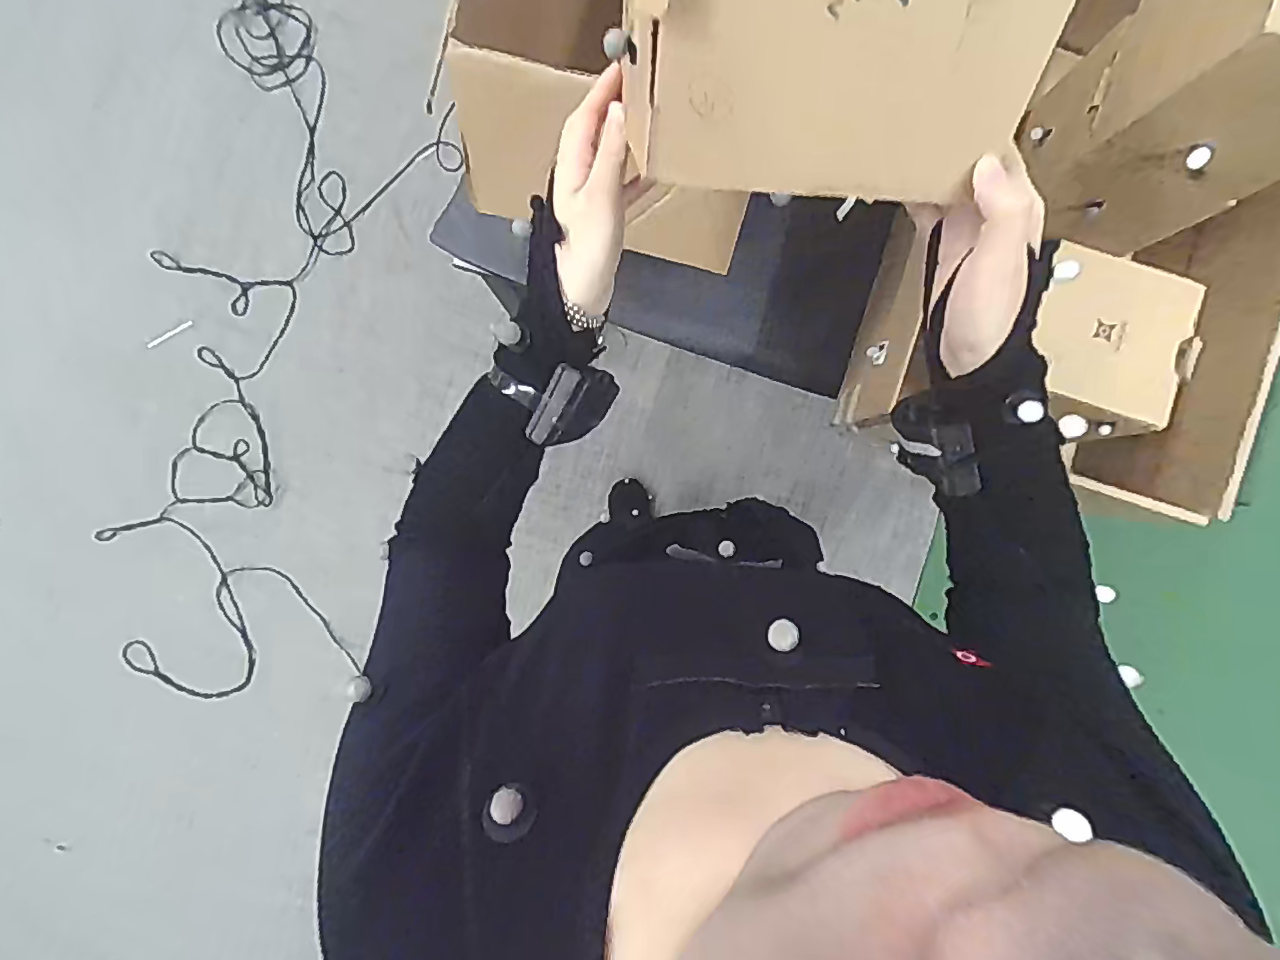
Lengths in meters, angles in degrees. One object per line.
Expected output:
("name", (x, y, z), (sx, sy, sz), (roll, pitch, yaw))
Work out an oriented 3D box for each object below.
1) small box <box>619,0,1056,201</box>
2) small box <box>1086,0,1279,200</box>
("small box", (0.083, -0.260, 0.275), (0.179, 0.176, 0.168), (-1, 134, -8))
("small box", (0.581, -0.409, 0.510), (0.168, 0.176, 0.179), (19, 92, -1))
